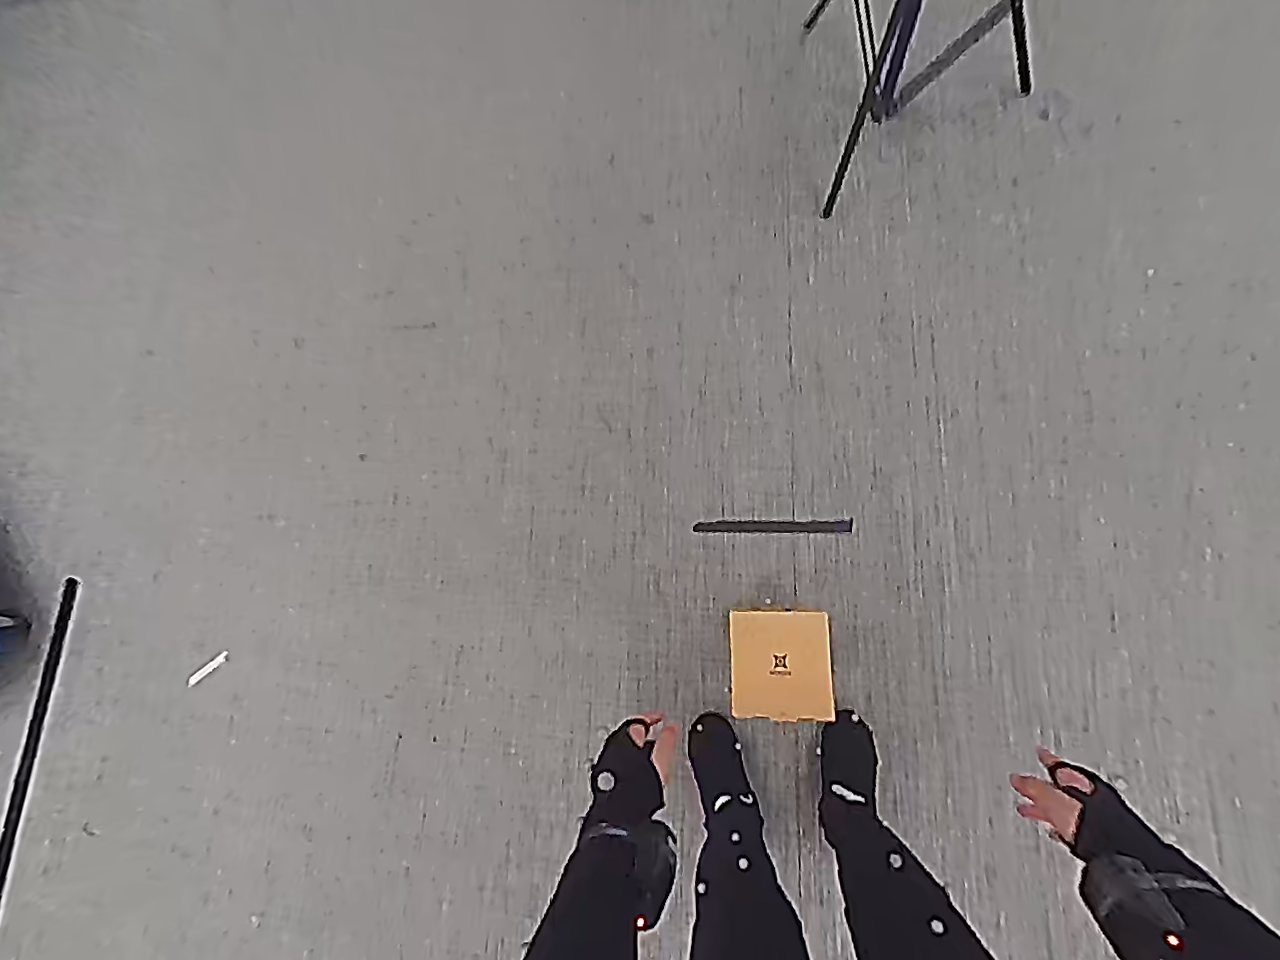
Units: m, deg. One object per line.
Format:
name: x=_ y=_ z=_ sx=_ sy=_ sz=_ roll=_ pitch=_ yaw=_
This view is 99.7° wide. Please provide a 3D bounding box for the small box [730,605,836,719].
small box: x=0.248 y=0.317 z=0.974 sx=0.168 sy=0.176 sz=0.179 roll=-2 pitch=79 yaw=10
